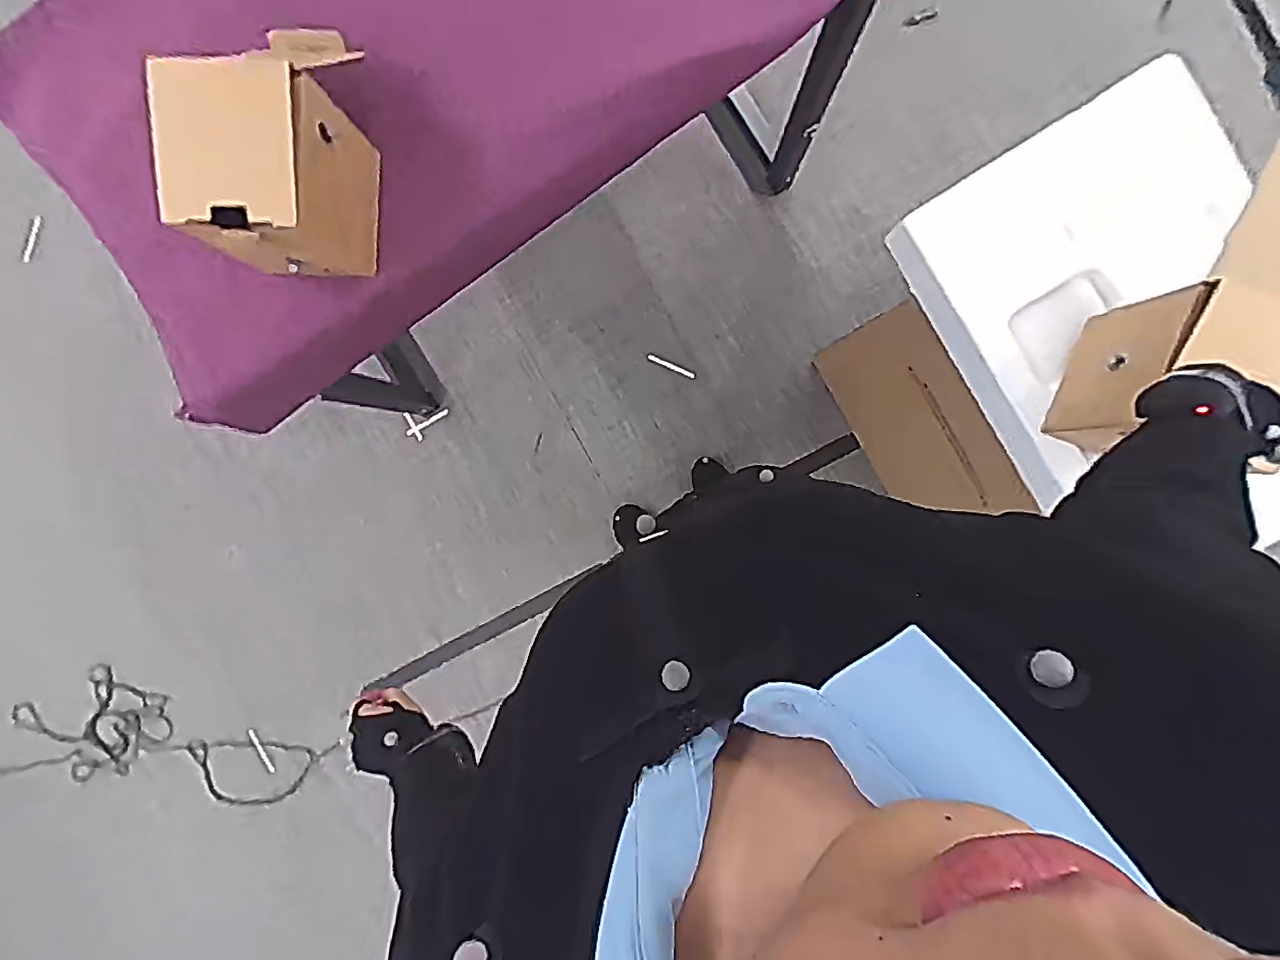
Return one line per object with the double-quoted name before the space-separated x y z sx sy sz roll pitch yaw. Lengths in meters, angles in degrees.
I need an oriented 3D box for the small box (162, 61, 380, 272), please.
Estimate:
"small box" -0.455 -0.387 0.693 0.168 0.176 0.179 3 92 3
